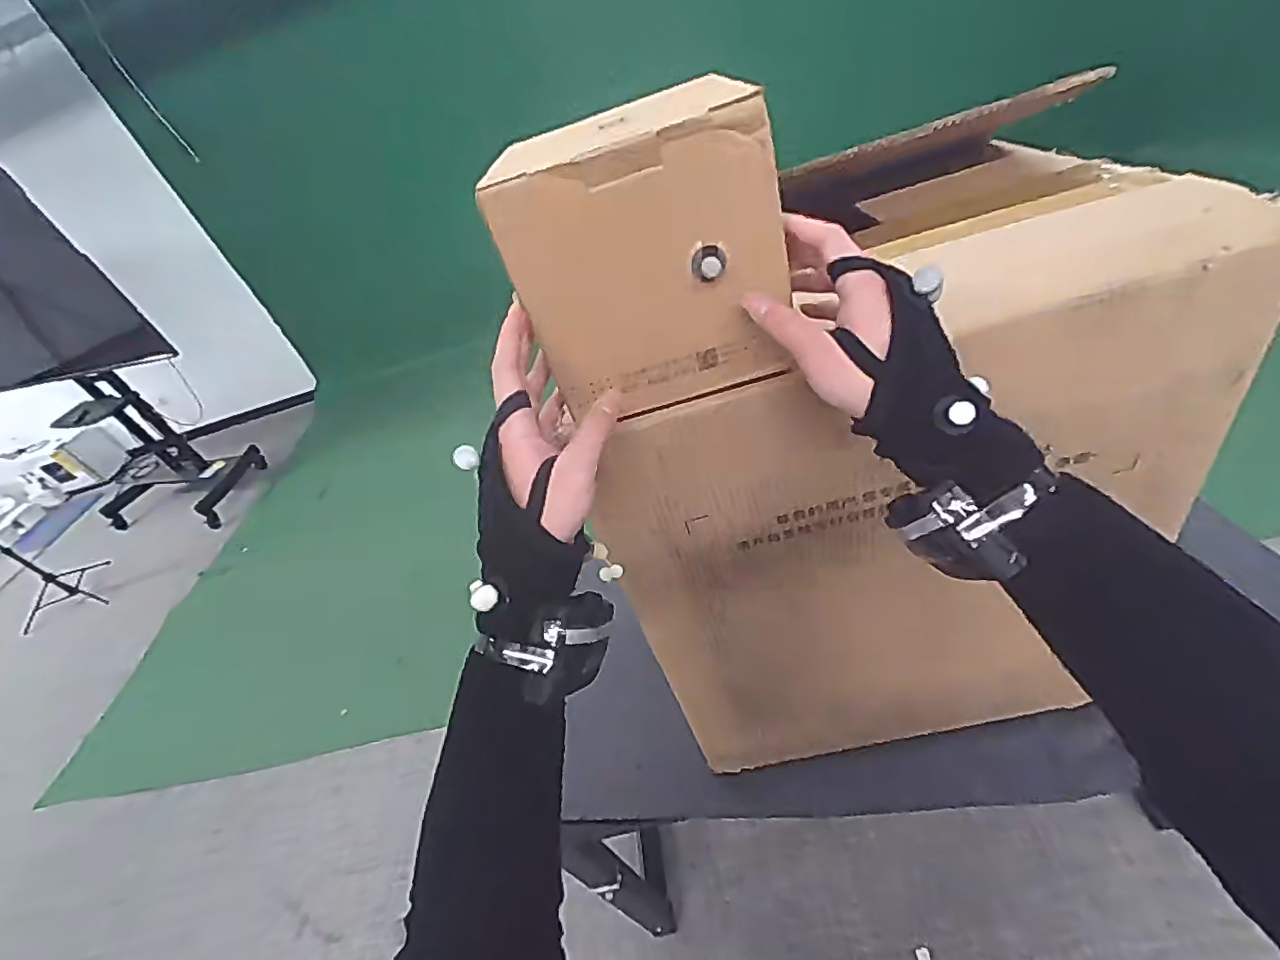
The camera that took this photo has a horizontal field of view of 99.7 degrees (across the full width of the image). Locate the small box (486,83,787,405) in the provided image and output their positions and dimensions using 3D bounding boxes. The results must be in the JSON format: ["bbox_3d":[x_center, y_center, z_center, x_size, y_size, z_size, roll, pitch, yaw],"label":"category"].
[{"bbox_3d":[0.007,-0.173,0.415,0.168,0.176,0.179,-14,37,8],"label":"small box"}]
